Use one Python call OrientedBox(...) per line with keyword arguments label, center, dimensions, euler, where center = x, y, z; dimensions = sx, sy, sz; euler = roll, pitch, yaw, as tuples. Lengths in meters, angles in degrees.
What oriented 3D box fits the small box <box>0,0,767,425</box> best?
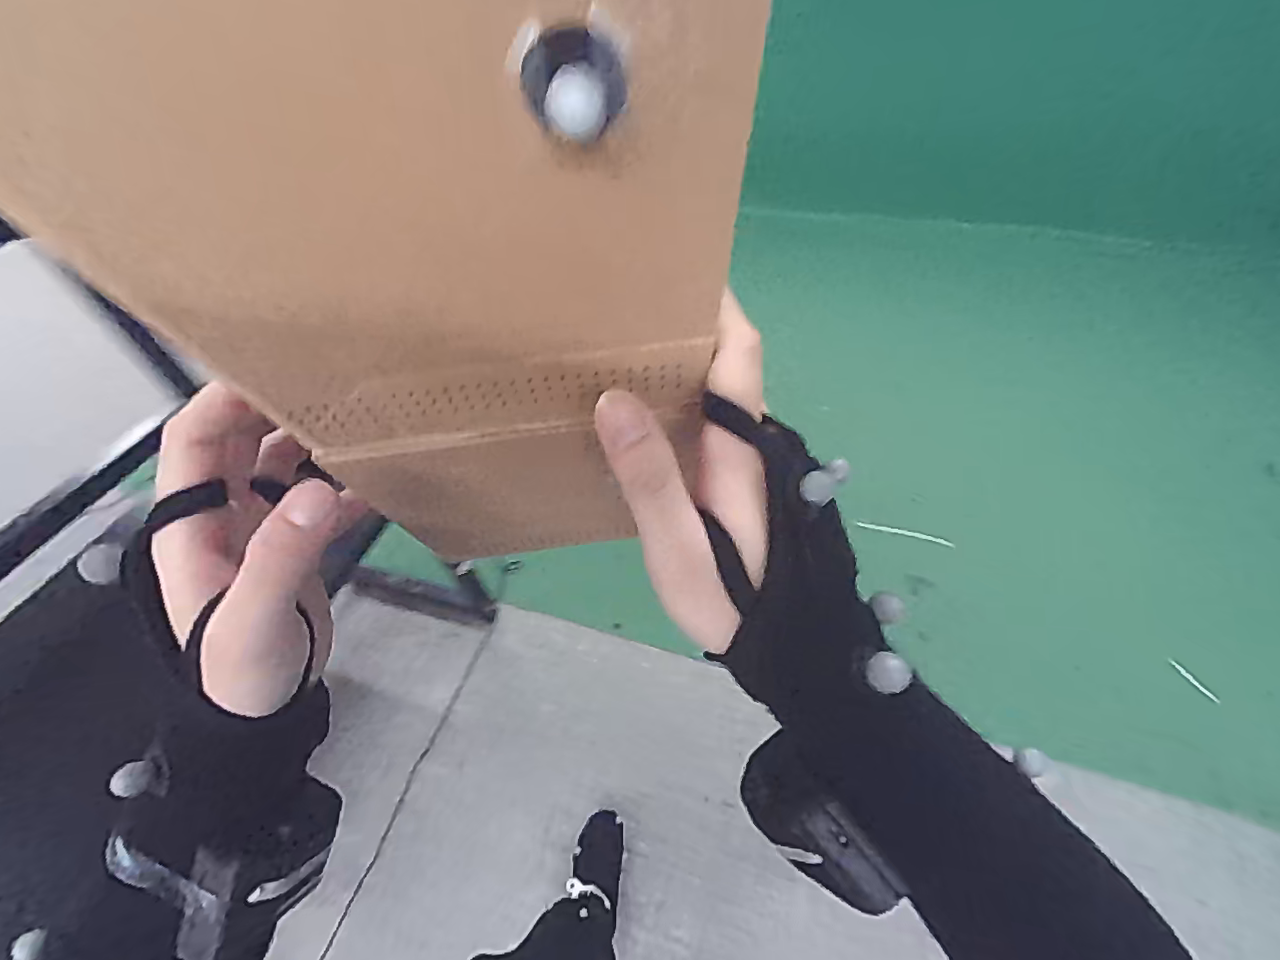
OrientedBox(label="small box", center=(-0.061, -0.132, 0.191), dimensions=(0.179, 0.176, 0.168), euler=(-6, 66, -1))
